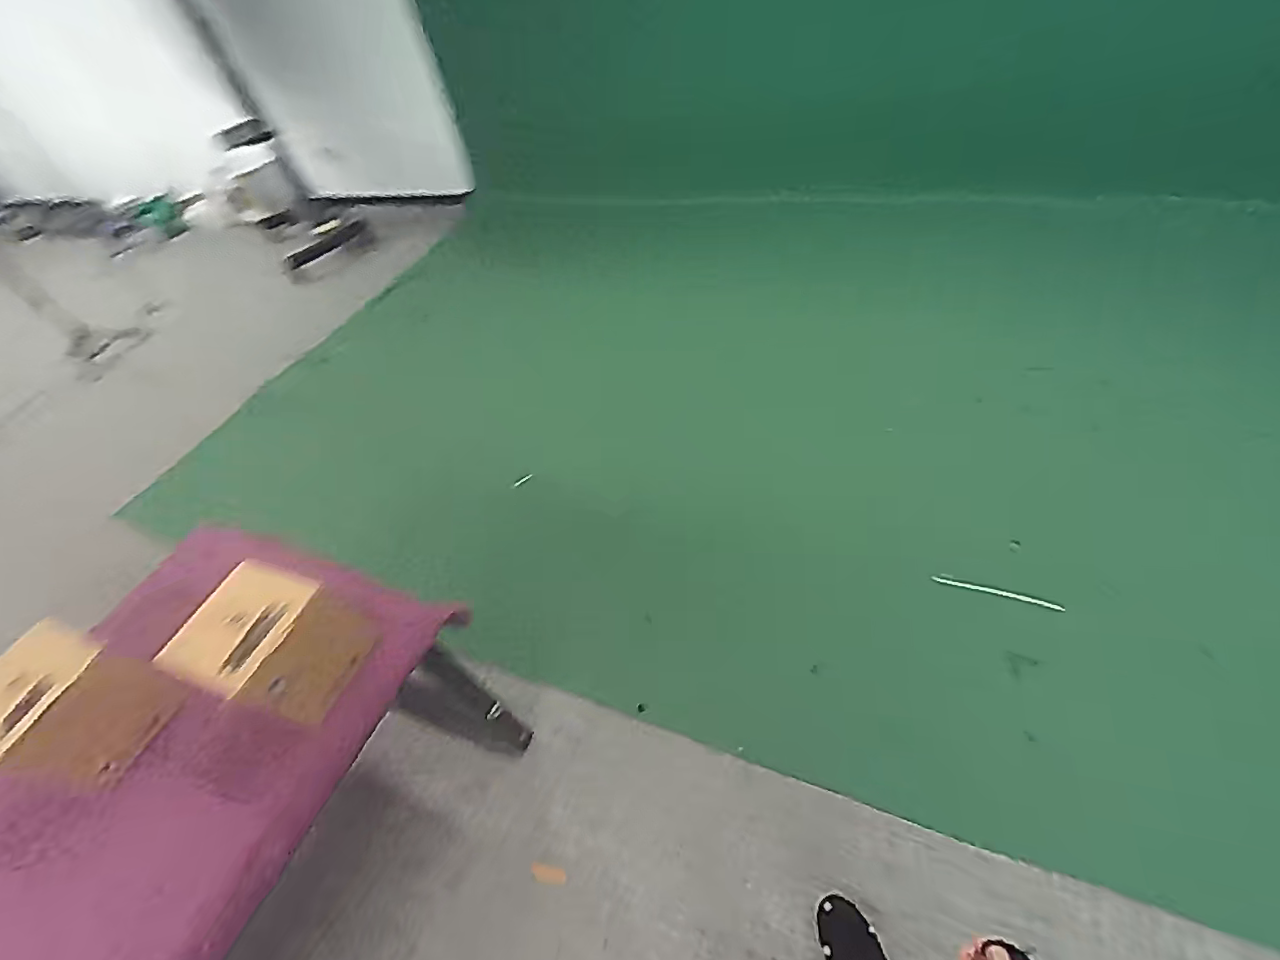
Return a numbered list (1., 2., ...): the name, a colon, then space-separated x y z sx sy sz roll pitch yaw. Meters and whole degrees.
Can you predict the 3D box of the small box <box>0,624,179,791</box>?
1. small box: -0.868 0.346 0.815 0.179 0.176 0.168 10 52 20
